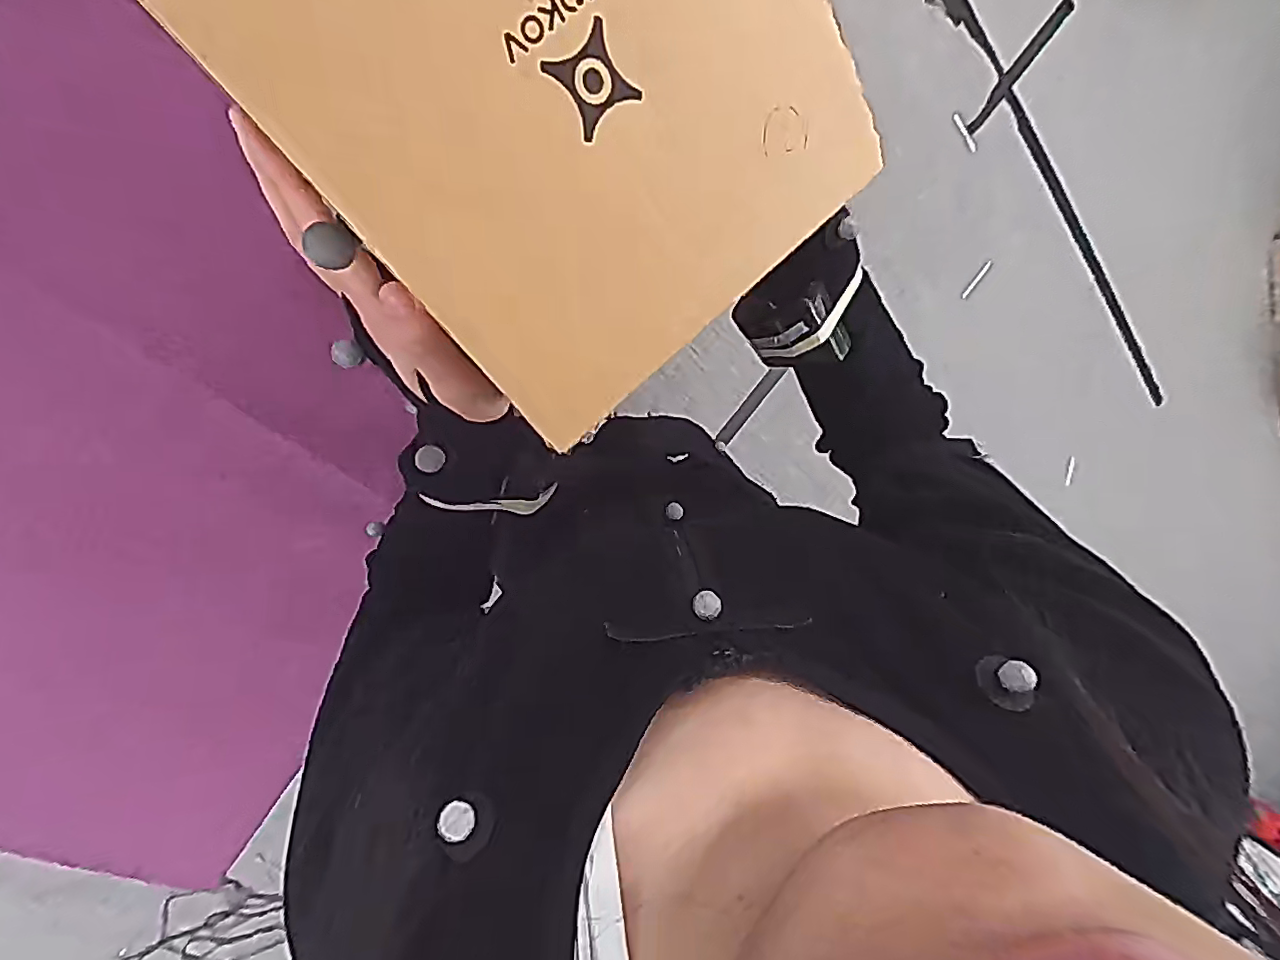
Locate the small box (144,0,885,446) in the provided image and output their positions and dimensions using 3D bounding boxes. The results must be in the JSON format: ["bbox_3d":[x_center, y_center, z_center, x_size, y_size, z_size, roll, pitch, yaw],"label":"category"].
[{"bbox_3d":[-0.044,-0.148,0.225,0.168,0.176,0.179,-42,120,-3],"label":"small box"}]
